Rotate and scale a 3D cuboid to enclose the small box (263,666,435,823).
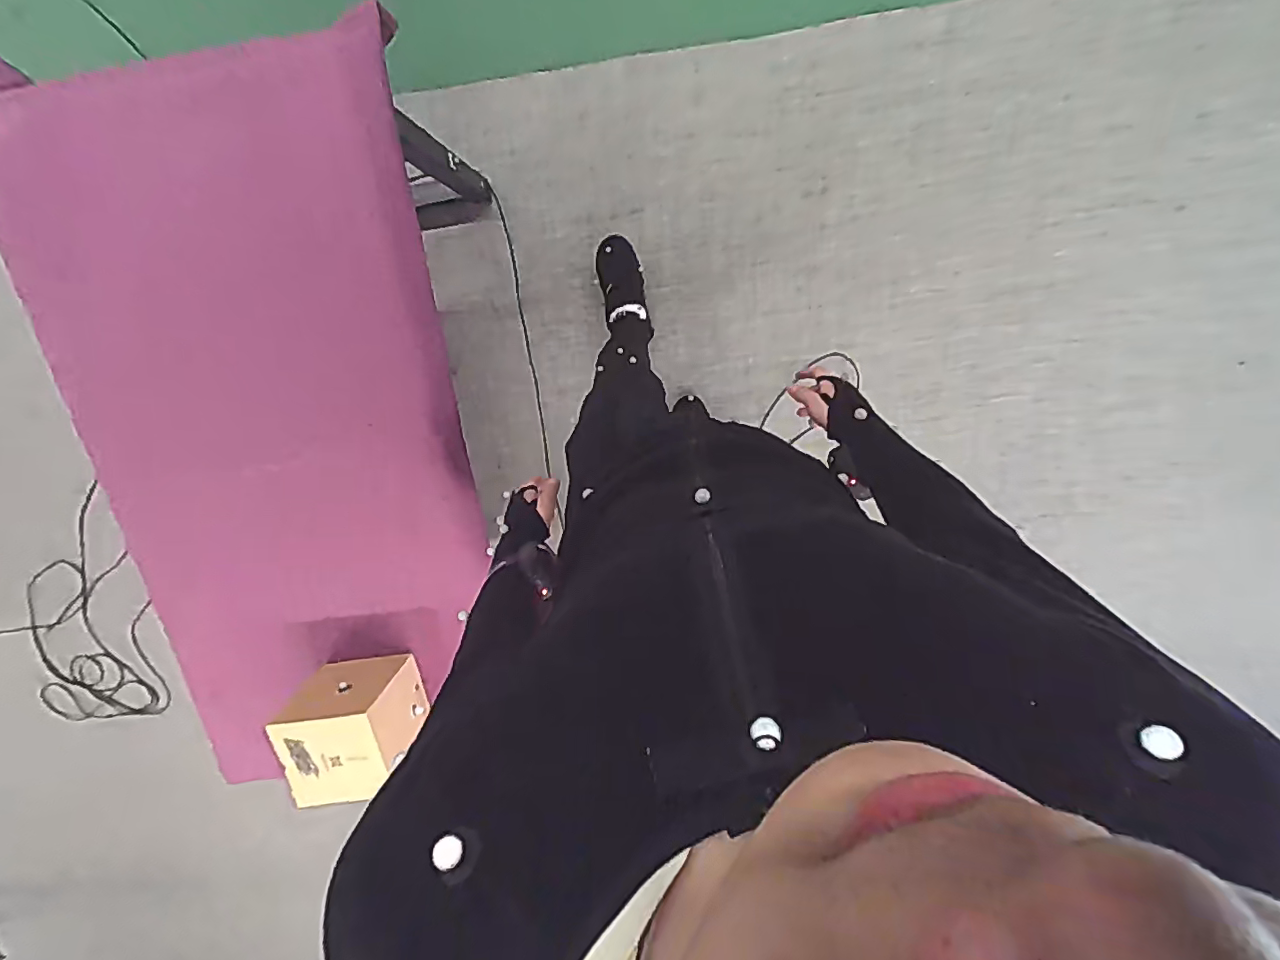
[{"bbox_3d":[-0.483,0.443,0.925,0.179,0.176,0.168,-9,105,4],"label":"small box"}]
